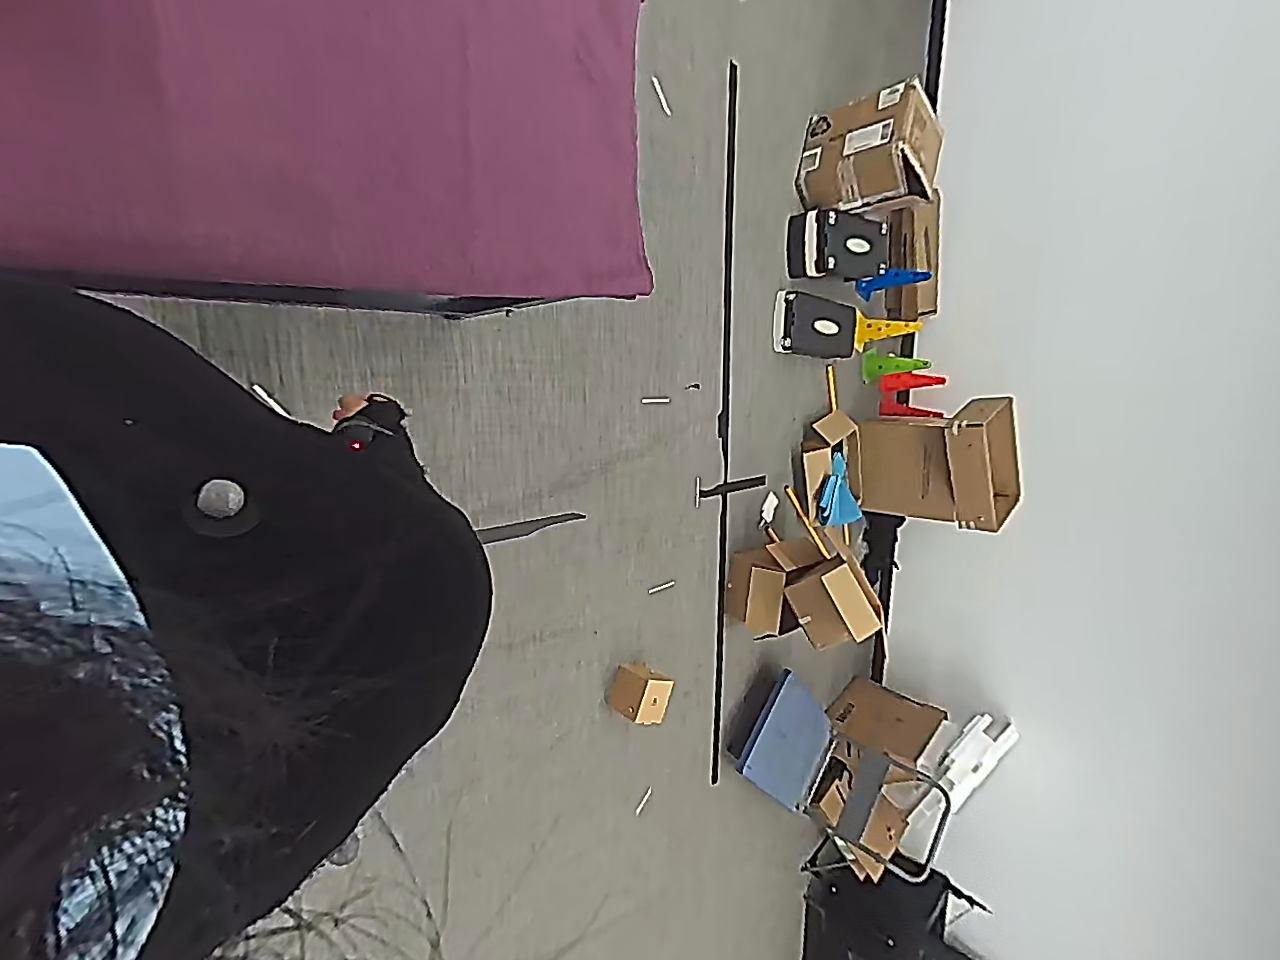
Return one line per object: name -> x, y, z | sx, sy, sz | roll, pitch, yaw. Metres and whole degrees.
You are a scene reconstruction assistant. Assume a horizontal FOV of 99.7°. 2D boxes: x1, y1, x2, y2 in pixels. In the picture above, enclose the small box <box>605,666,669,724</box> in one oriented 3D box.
small box -> -0.016, 0.873, 2.206 | 0.168, 0.176, 0.179 | 25, 81, -45
